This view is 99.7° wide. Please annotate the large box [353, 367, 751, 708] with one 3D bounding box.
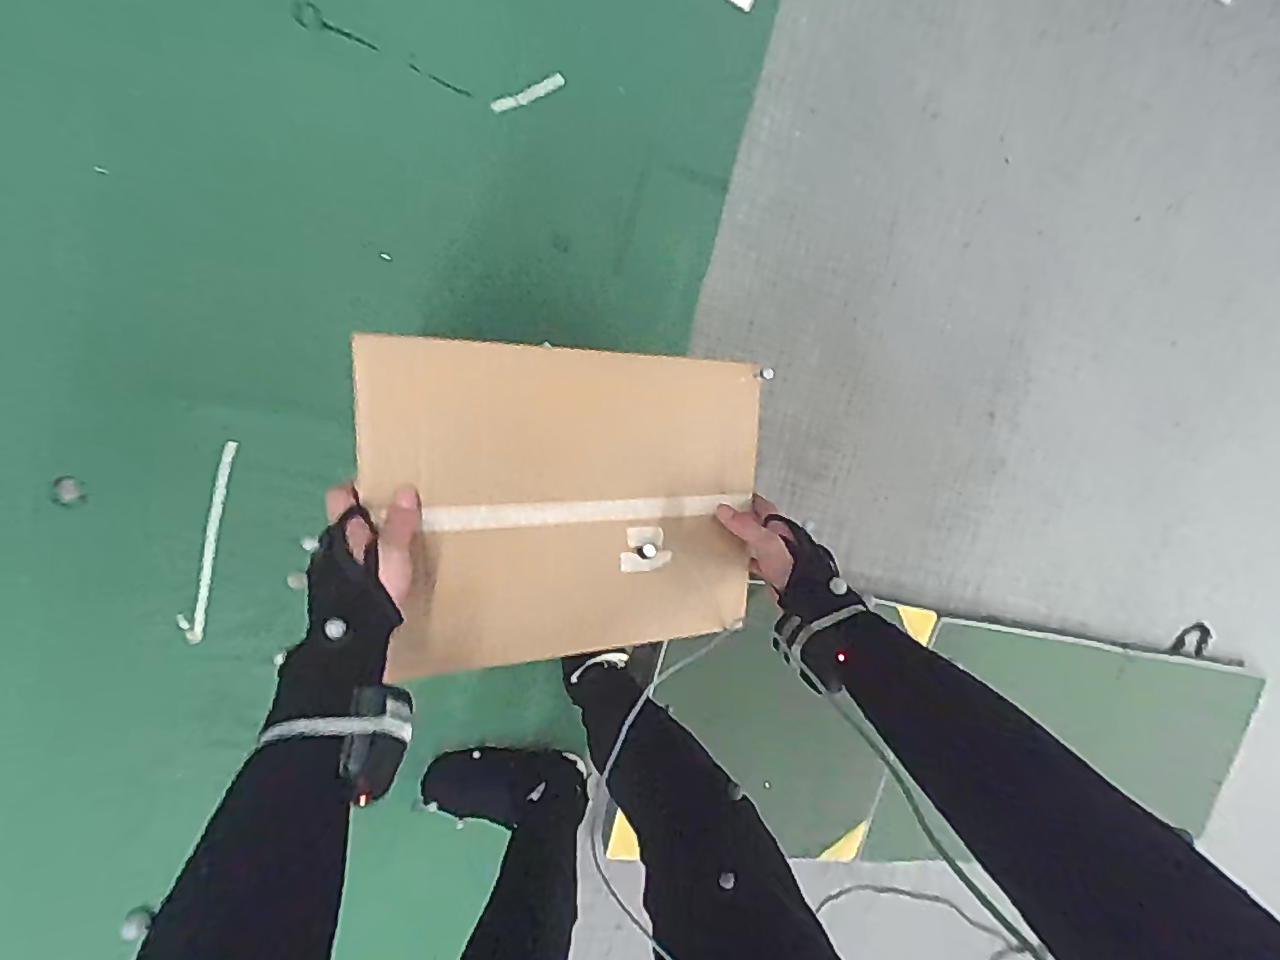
[{"bbox_3d":[-0.119,0.029,0.682,0.408,0.320,0.320,-3,100,-24],"label":"large box"}]
